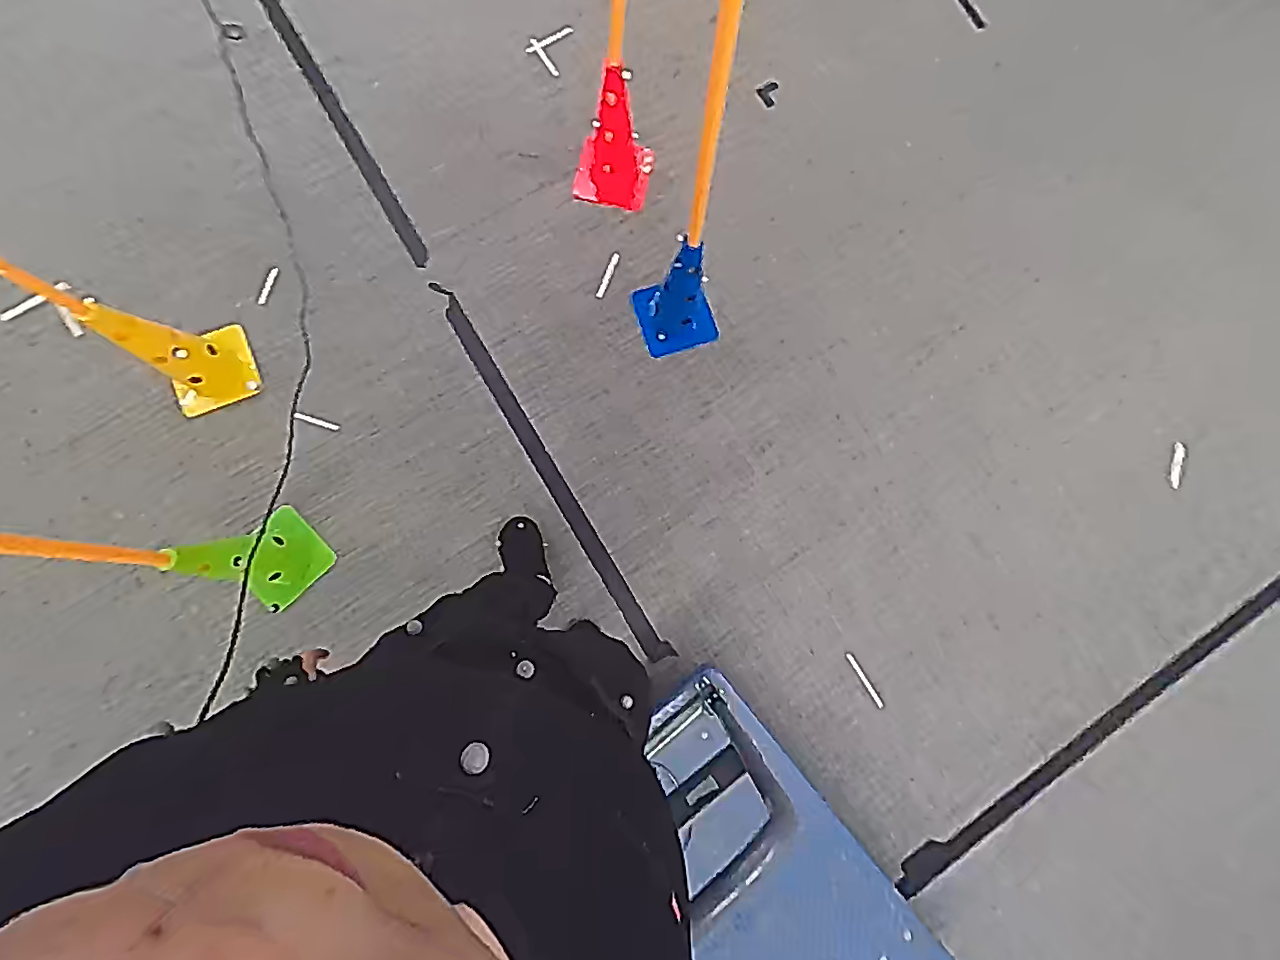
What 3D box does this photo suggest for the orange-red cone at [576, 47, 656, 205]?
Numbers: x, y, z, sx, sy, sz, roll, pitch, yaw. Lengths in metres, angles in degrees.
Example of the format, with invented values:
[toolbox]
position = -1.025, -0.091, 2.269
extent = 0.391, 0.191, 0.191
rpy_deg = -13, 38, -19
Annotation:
[orange-red cone]
position = -0.059, -0.896, 1.343
extent = 0.198, 0.360, 0.199
rpy_deg = 14, 83, 0

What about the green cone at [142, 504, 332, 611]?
[green cone]
position = -0.876, 0.159, 1.147
extent = 0.202, 0.368, 0.200
rpy_deg = 44, 82, 5

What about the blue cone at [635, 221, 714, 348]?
[blue cone]
position = 0.103, -0.484, 1.306
extent = 0.193, 0.380, 0.192
rpy_deg = -16, 82, -5
